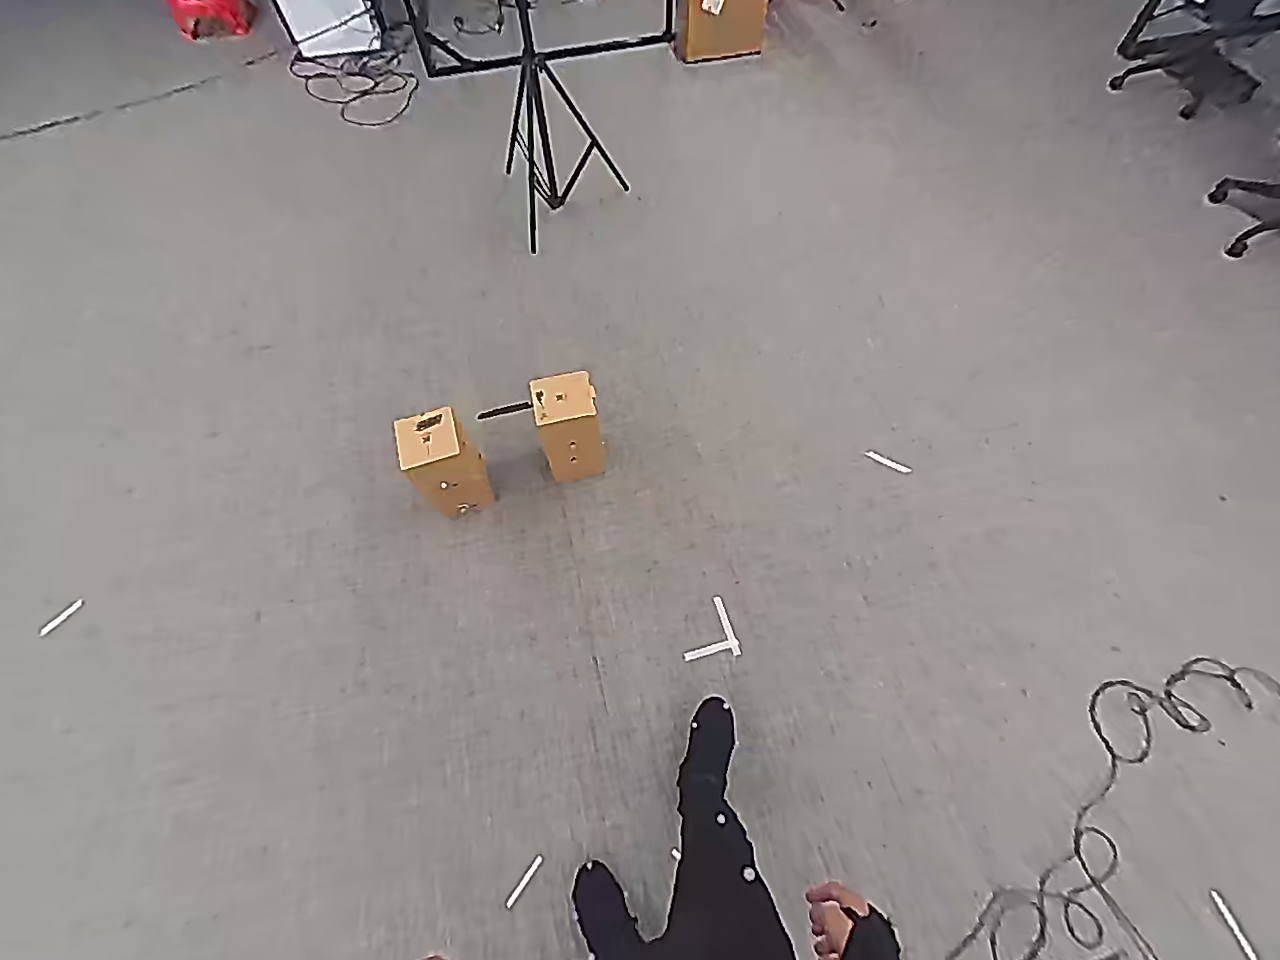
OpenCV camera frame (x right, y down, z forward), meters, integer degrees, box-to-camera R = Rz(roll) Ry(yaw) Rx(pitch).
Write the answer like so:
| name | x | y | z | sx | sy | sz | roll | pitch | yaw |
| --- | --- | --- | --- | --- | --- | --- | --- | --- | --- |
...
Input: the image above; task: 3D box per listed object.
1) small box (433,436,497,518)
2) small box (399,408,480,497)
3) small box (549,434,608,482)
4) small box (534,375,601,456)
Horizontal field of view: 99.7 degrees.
| name | x | y | z | sx | sy | sz | roll | pitch | yaw |
| --- | --- | --- | --- | --- | --- | --- | --- | --- | --- |
| small box | -0.573 | -0.006 | 1.728 | 0.168 | 0.176 | 0.179 | -18 | 63 | -8 |
| small box | -0.584 | -0.078 | 1.582 | 0.168 | 0.176 | 0.179 | -17 | 63 | -6 |
| small box | -0.209 | -0.112 | 1.775 | 0.179 | 0.176 | 0.168 | -12 | 62 | -5 |
| small box | -0.214 | -0.191 | 1.631 | 0.179 | 0.176 | 0.168 | -10 | 61 | -5 |
